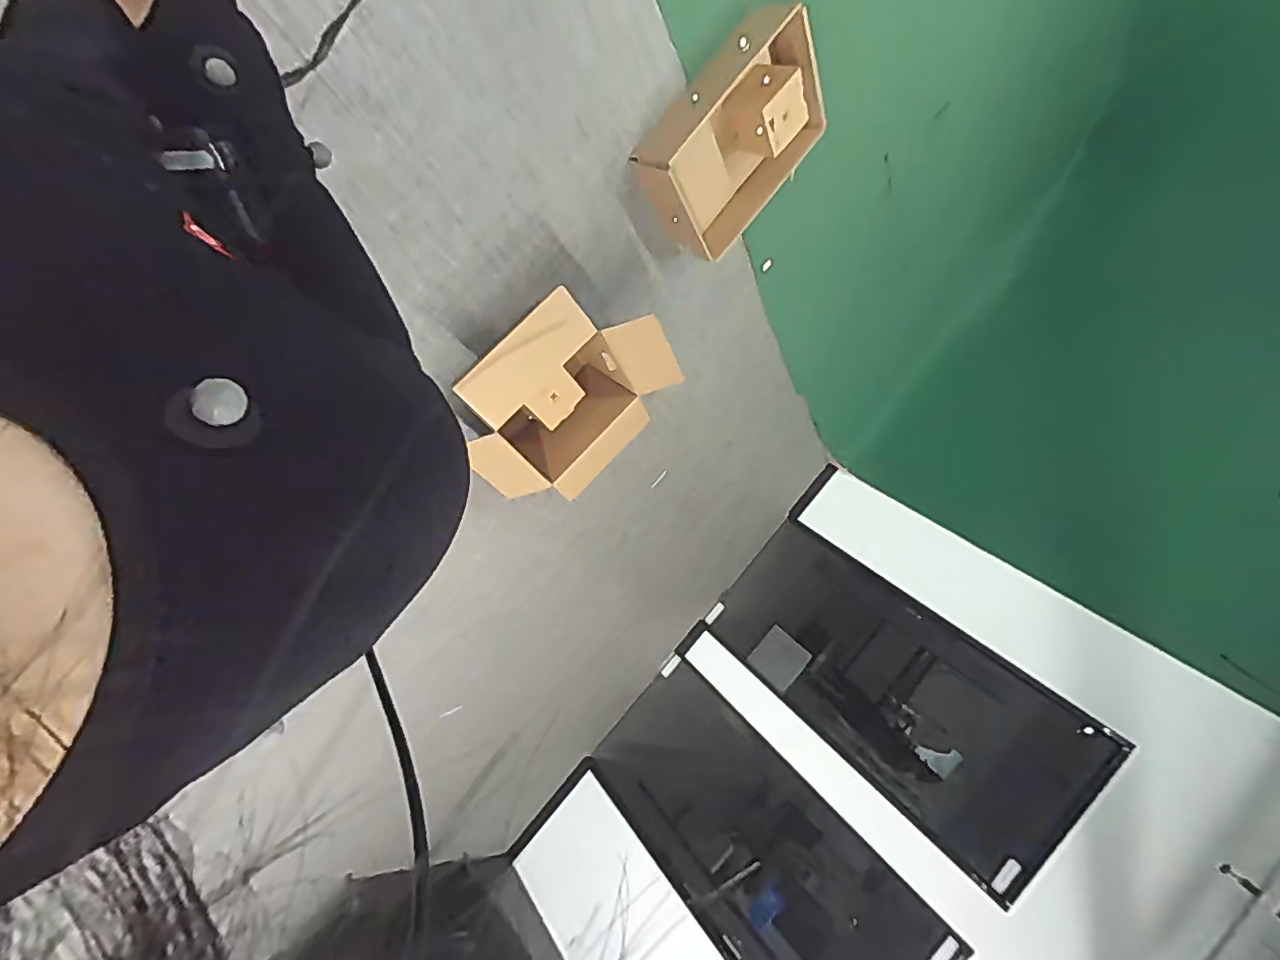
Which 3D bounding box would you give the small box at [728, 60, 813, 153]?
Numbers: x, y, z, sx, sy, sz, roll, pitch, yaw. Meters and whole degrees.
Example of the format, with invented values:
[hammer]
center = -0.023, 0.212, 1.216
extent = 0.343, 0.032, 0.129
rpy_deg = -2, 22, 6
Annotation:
[small box]
center = 0.407, -1.170, 1.687
extent = 0.179, 0.176, 0.168
rpy_deg = -50, 144, -2
